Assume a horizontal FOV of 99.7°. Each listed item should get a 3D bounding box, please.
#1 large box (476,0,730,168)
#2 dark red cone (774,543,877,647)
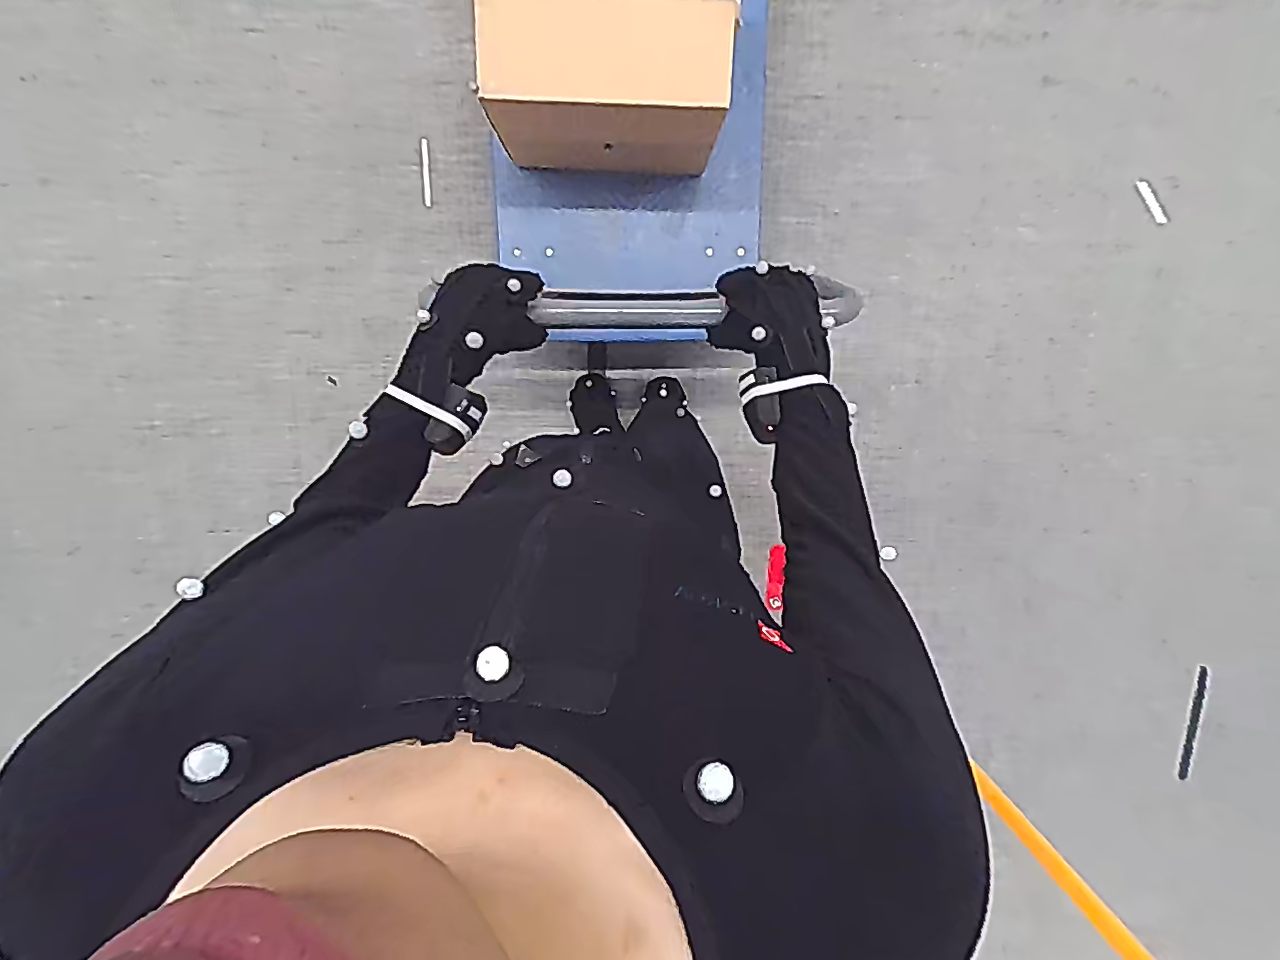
[{"bbox_3d":[-0.057,-0.784,0.983,0.408,0.320,0.320,1,102,-1],"label":"large box"},{"bbox_3d":[0.479,0.305,1.344,0.201,0.394,0.202,0,102,-3],"label":"dark red cone"}]
